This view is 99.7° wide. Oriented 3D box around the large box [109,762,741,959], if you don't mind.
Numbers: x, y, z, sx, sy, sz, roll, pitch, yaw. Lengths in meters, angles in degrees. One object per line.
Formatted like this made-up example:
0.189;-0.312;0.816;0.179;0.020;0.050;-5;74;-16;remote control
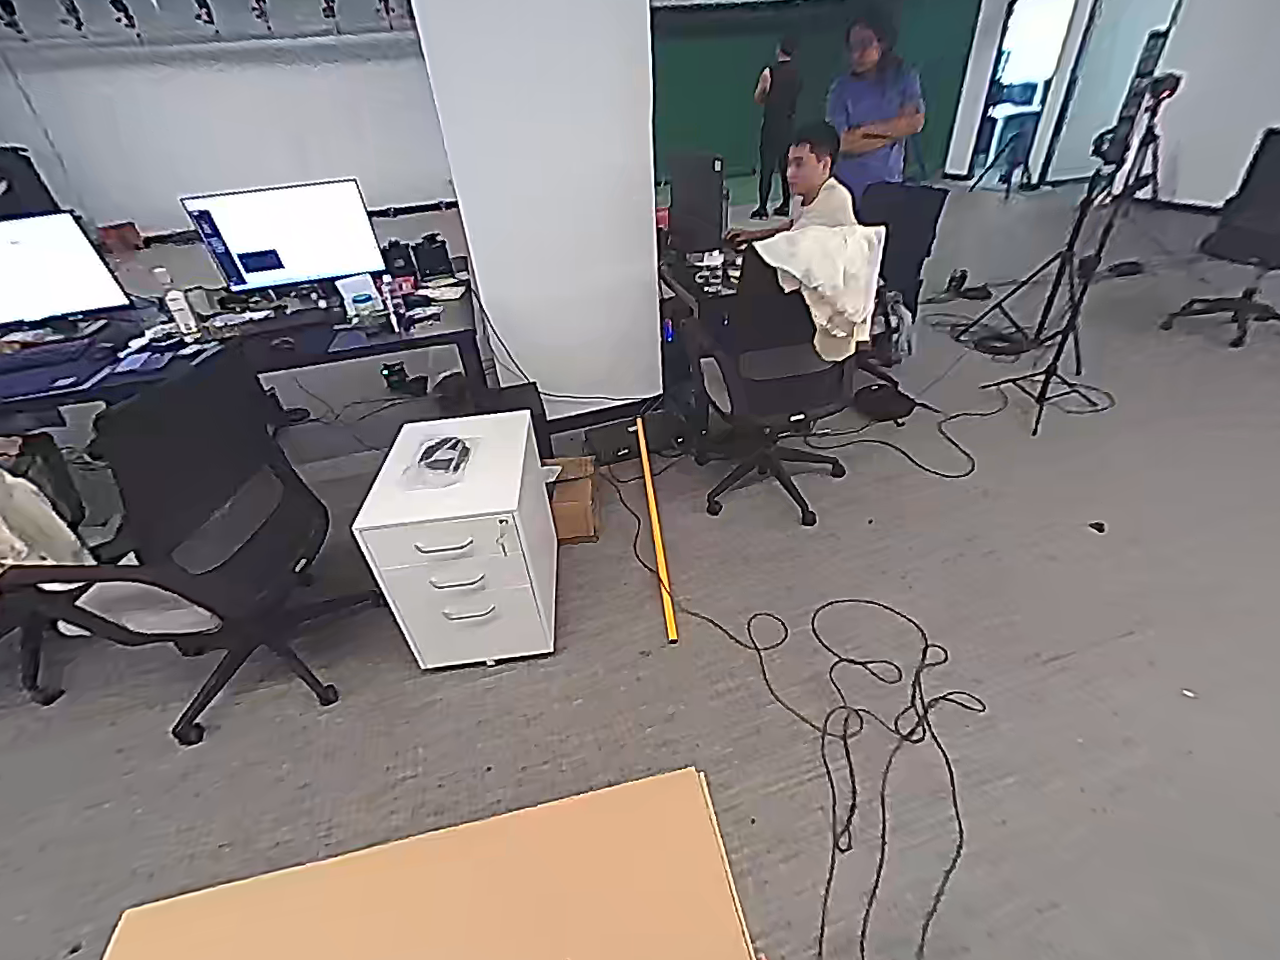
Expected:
-0.119;0.466;0.395;0.408;0.320;0.320;-9;43;-9;large box
